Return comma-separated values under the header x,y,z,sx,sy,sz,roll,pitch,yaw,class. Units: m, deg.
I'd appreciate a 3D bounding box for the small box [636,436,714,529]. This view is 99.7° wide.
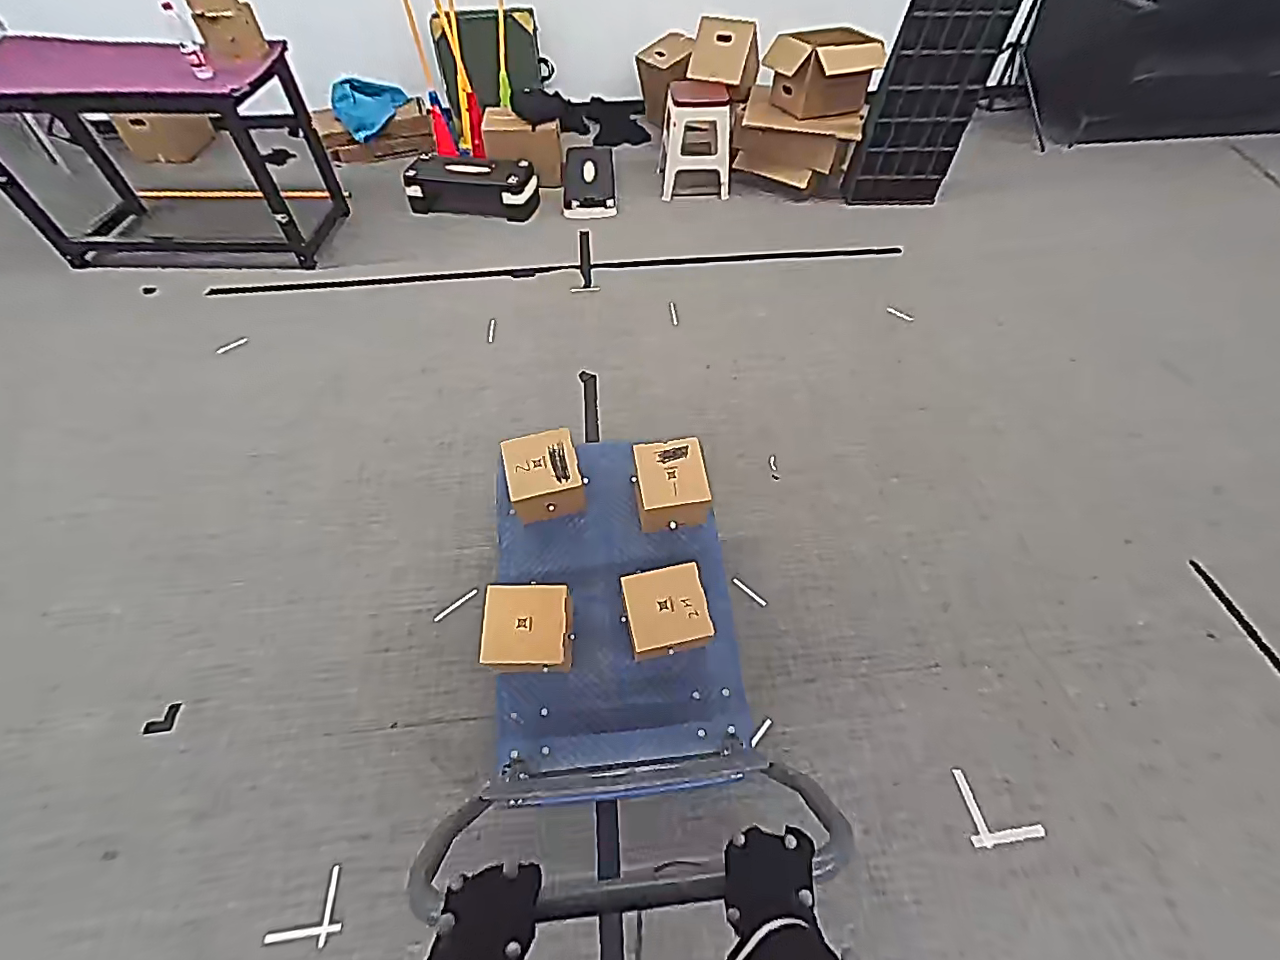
x,y,z,sx,sy,sz,roll,pitch,yaw,class
0.081,0.009,1.378,0.168,0.176,0.179,-8,67,-4,small box

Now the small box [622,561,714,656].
x,y,z,sx,sy,sz,roll,pitch,yaw,class
0.060,0.302,1.247,0.179,0.176,0.168,-10,67,-6,small box

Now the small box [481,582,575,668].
x,y,z,sx,sy,sz,roll,pitch,yaw,class
-0.246,0.333,1.229,0.179,0.176,0.168,0,66,-2,small box
